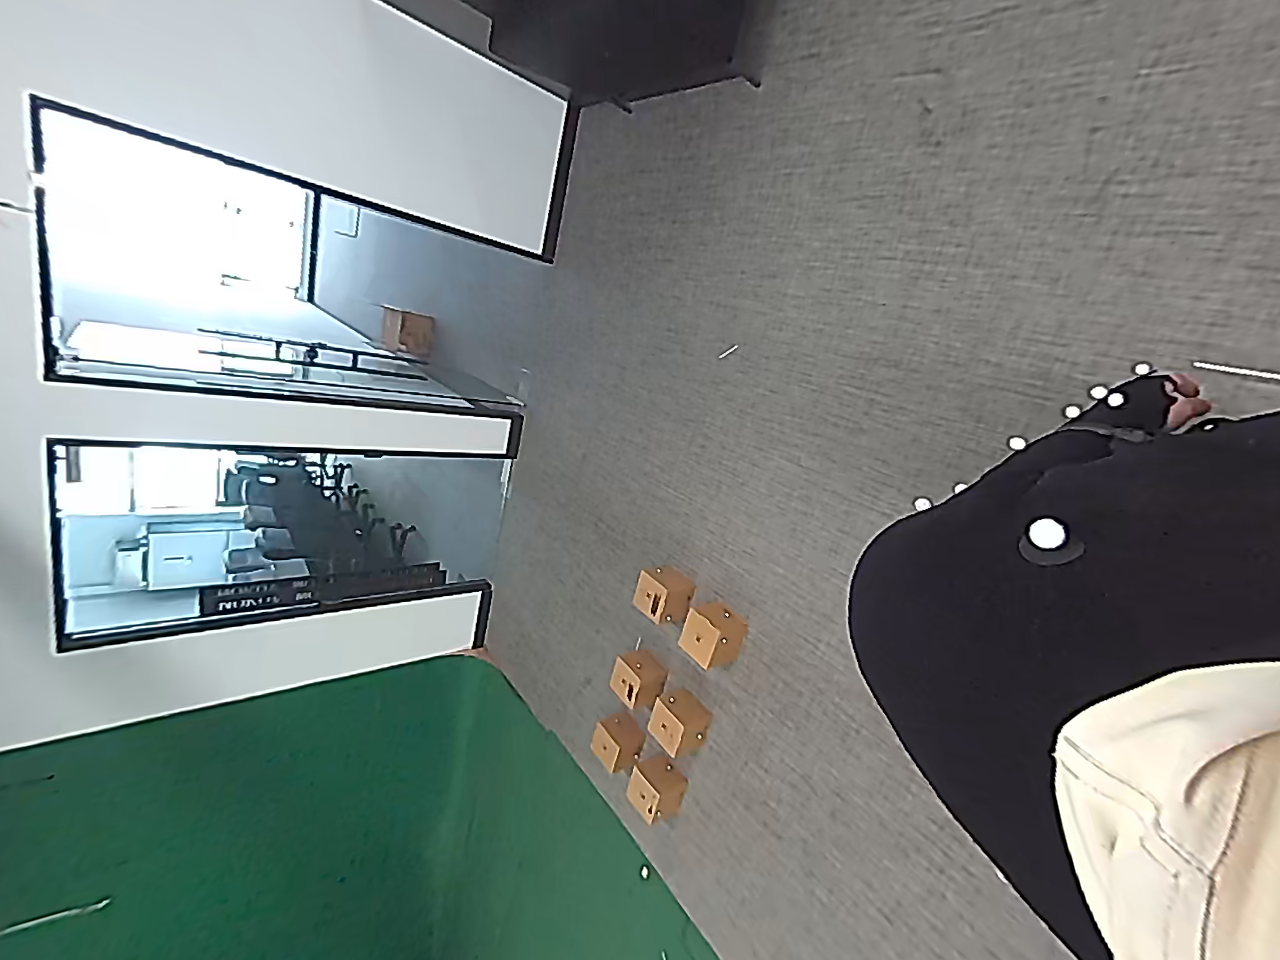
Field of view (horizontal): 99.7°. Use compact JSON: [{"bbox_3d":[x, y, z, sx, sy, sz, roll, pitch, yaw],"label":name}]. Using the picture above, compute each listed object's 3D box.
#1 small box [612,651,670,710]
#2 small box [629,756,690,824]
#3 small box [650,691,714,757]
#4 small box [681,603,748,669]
[{"bbox_3d":[0.007,0.890,2.427,0.179,0.176,0.168,33,114,45],"label":"small box"},{"bbox_3d":[0.084,1.329,2.335,0.179,0.176,0.168,31,114,46],"label":"small box"},{"bbox_3d":[0.174,0.998,2.233,0.179,0.176,0.168,33,114,44],"label":"small box"},{"bbox_3d":[0.292,0.600,2.103,0.168,0.176,0.179,33,113,44],"label":"small box"}]
